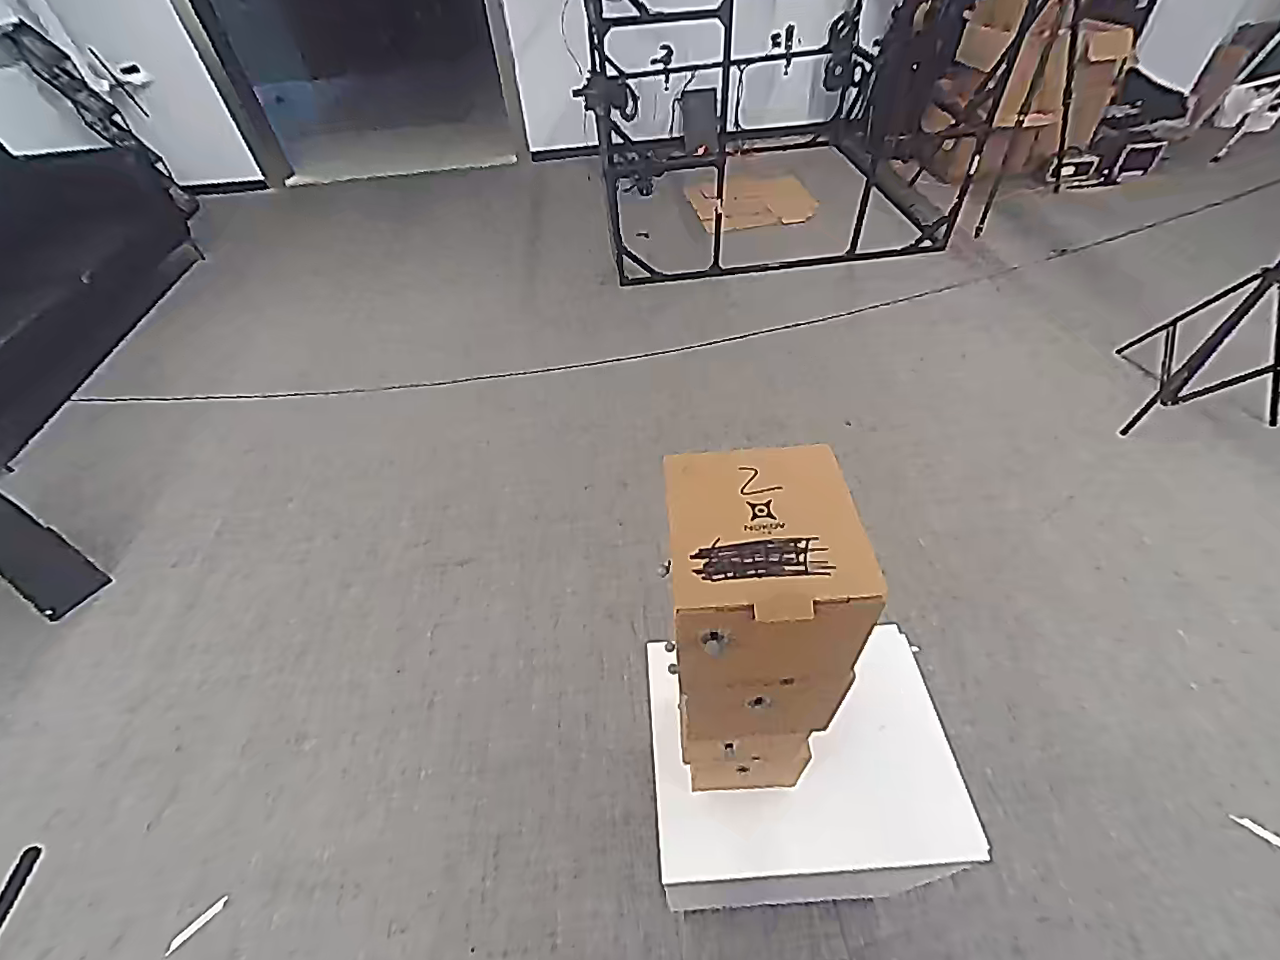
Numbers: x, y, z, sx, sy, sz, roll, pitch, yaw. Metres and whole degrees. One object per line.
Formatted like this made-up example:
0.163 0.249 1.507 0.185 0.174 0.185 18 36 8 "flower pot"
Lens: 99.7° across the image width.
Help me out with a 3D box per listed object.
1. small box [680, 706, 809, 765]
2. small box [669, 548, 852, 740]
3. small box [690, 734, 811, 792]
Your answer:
0.141 0.303 0.786 0.168 0.176 0.179 -3 47 3 "small box"
0.131 0.202 0.656 0.179 0.176 0.168 -4 48 1 "small box"
0.169 0.410 0.906 0.179 0.176 0.168 -3 48 1 "small box"
